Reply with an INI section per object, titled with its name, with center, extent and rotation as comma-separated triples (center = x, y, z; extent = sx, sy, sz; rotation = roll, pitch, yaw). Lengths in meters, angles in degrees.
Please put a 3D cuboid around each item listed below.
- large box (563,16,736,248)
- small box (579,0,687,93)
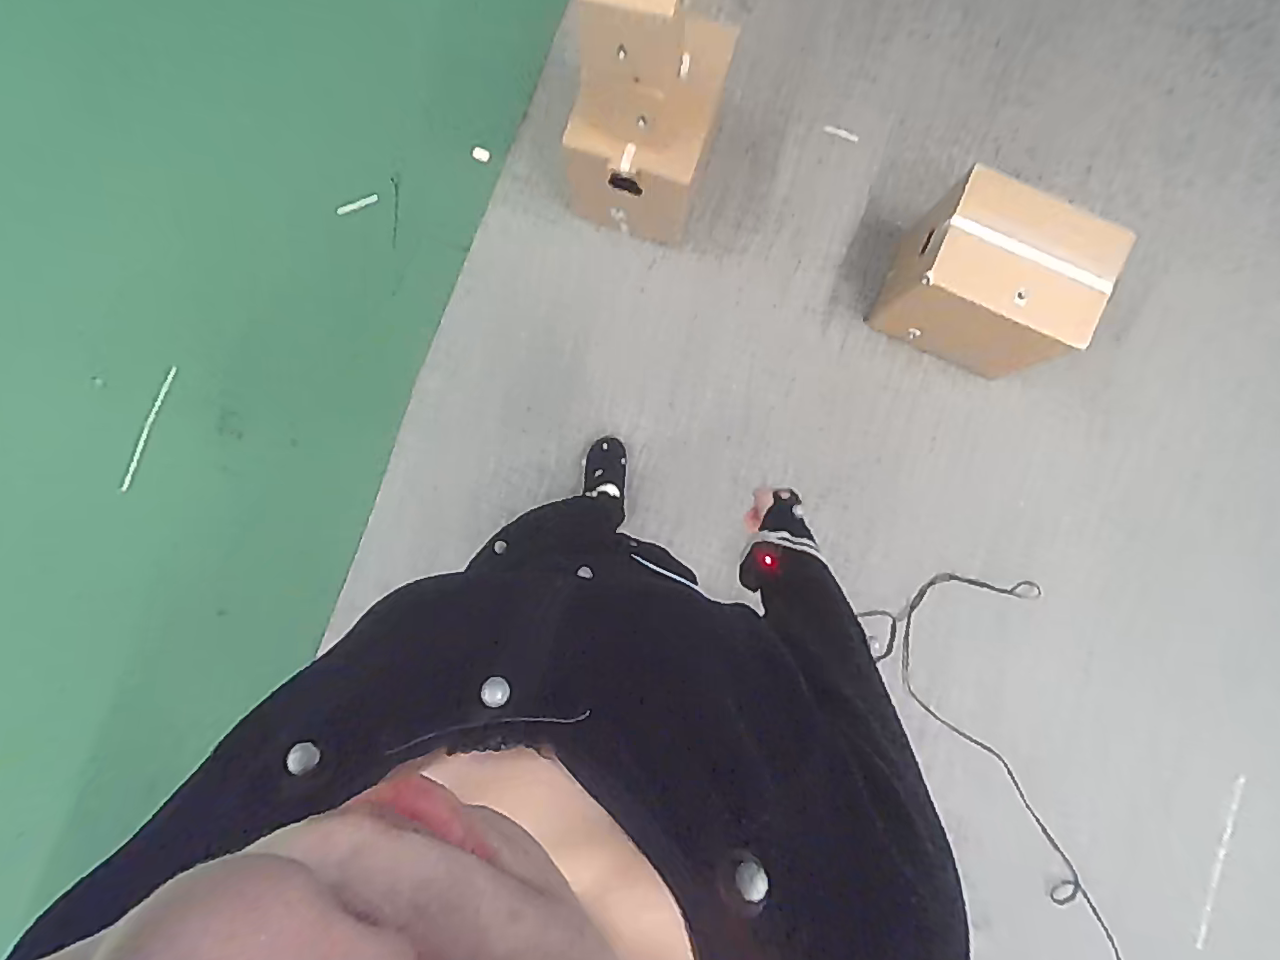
[large box]
center = 0.022, -0.893, 1.403
extent = 0.320, 0.320, 0.408
rotation = 18, 86, 0
[small box]
center = -0.006, -0.862, 0.992
extent = 0.168, 0.176, 0.179
rotation = 13, 86, -1
